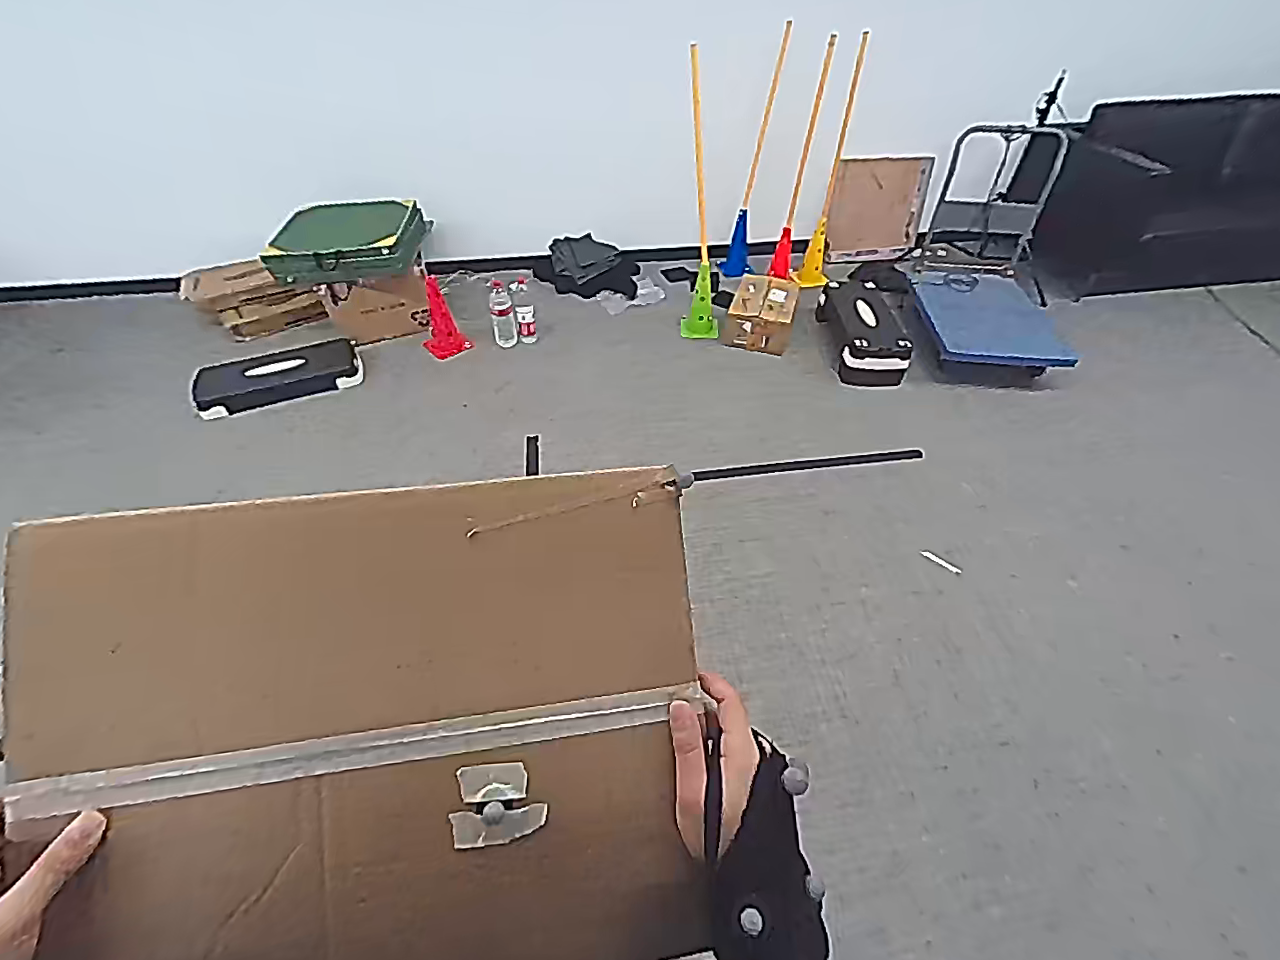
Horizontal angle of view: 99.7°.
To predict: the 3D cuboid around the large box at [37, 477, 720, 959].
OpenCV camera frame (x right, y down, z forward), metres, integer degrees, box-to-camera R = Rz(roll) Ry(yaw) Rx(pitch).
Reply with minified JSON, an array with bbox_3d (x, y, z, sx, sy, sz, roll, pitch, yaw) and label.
[{"bbox_3d":[-0.178,0.185,0.493,0.408,0.320,0.320,-5,86,-9],"label":"large box"}]
